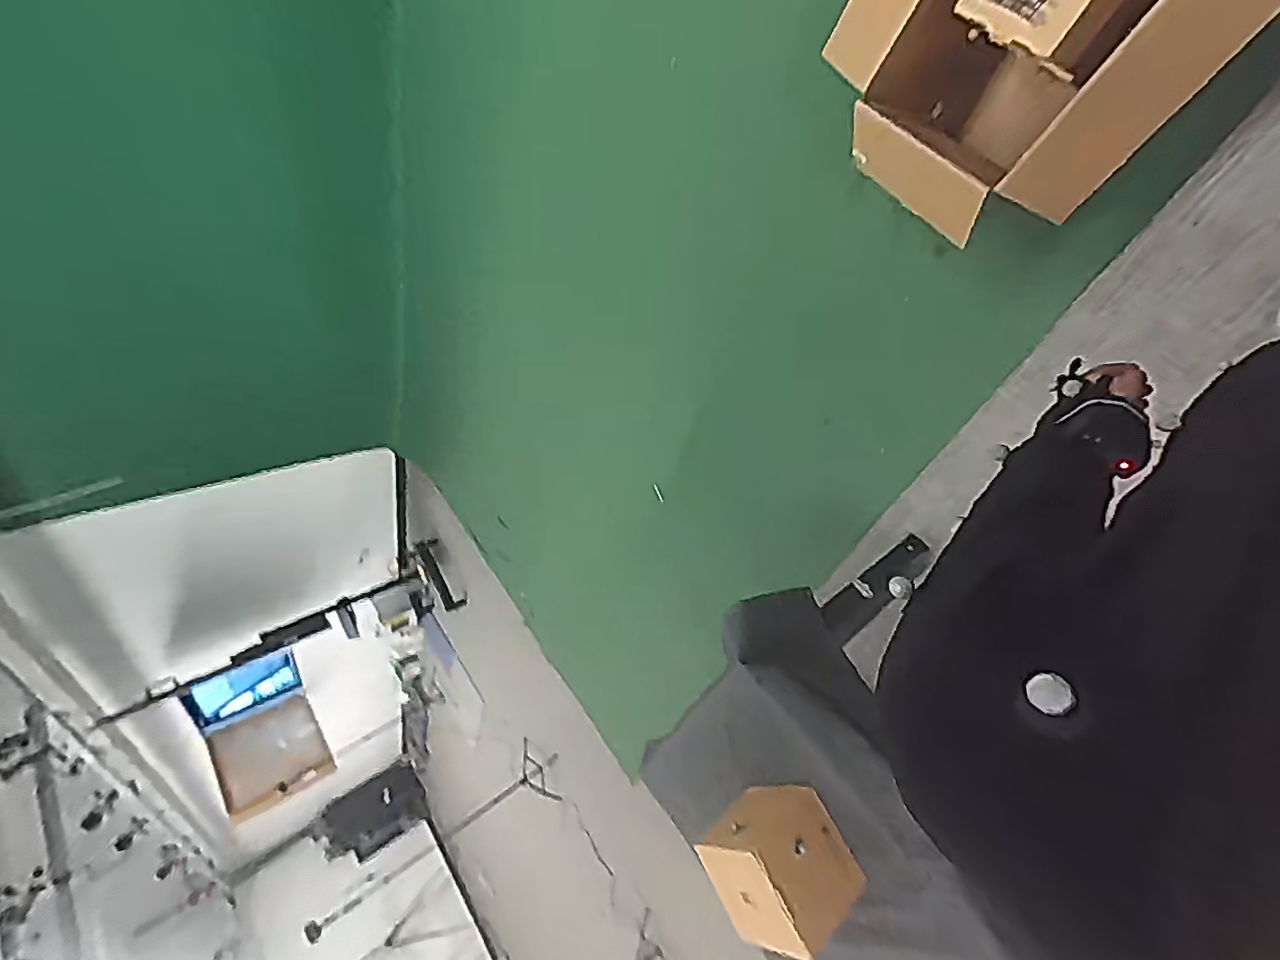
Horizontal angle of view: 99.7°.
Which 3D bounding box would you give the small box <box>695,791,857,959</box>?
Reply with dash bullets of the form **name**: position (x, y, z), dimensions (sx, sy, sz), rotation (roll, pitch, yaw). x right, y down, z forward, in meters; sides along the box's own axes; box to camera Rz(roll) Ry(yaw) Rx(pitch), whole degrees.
- **small box**: position (0.232, 0.648, 0.906), dimensions (0.168, 0.176, 0.179), rotation (61, 142, 13)
